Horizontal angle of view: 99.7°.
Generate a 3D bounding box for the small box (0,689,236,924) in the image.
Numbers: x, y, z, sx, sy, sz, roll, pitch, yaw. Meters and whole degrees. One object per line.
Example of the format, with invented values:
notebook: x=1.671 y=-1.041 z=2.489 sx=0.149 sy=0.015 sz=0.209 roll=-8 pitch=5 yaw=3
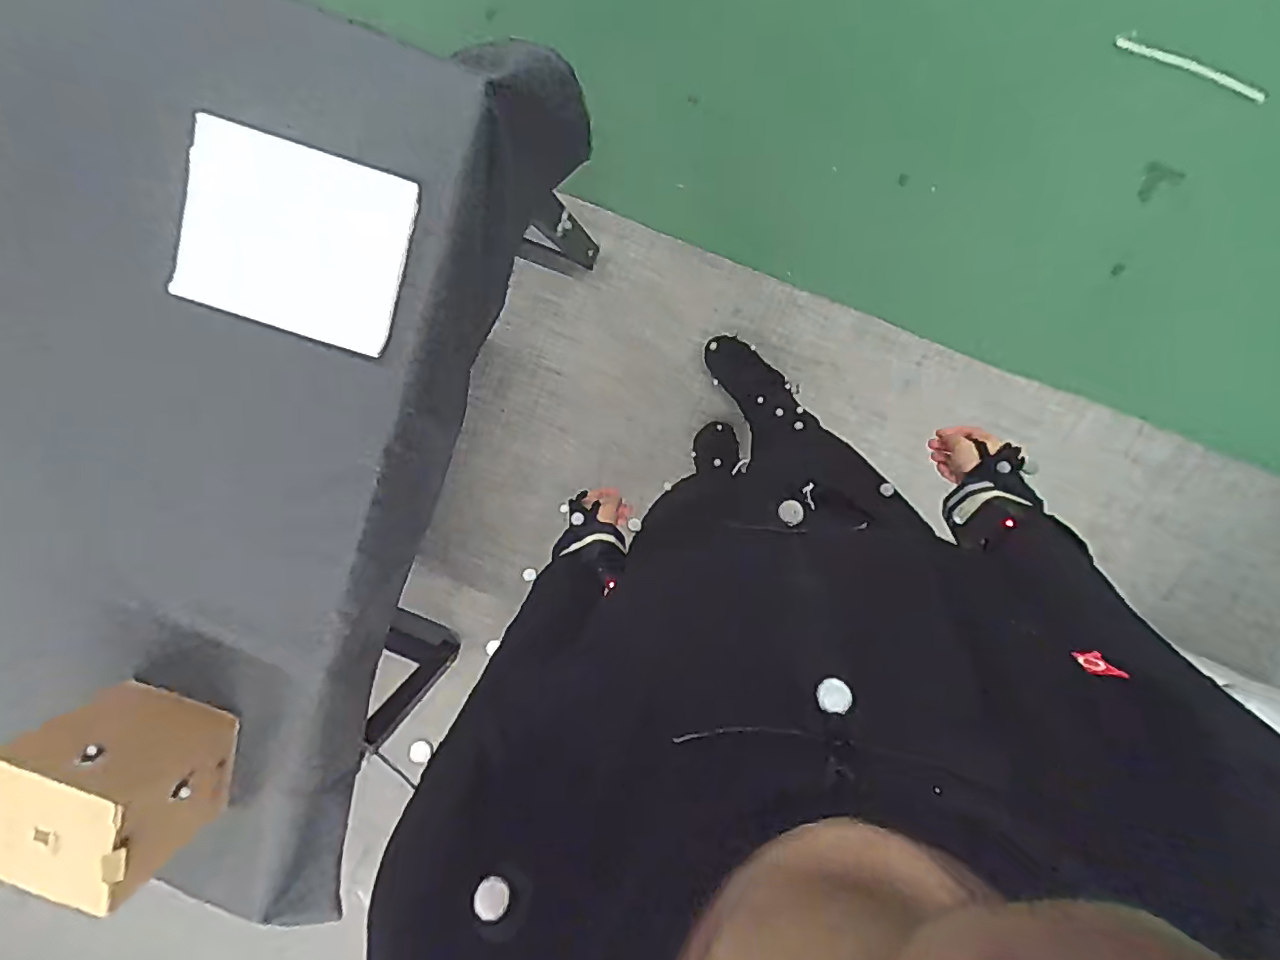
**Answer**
small box: x=-0.666 y=0.398 z=0.690 sx=0.179 sy=0.176 sz=0.168 roll=17 pitch=101 yaw=4
